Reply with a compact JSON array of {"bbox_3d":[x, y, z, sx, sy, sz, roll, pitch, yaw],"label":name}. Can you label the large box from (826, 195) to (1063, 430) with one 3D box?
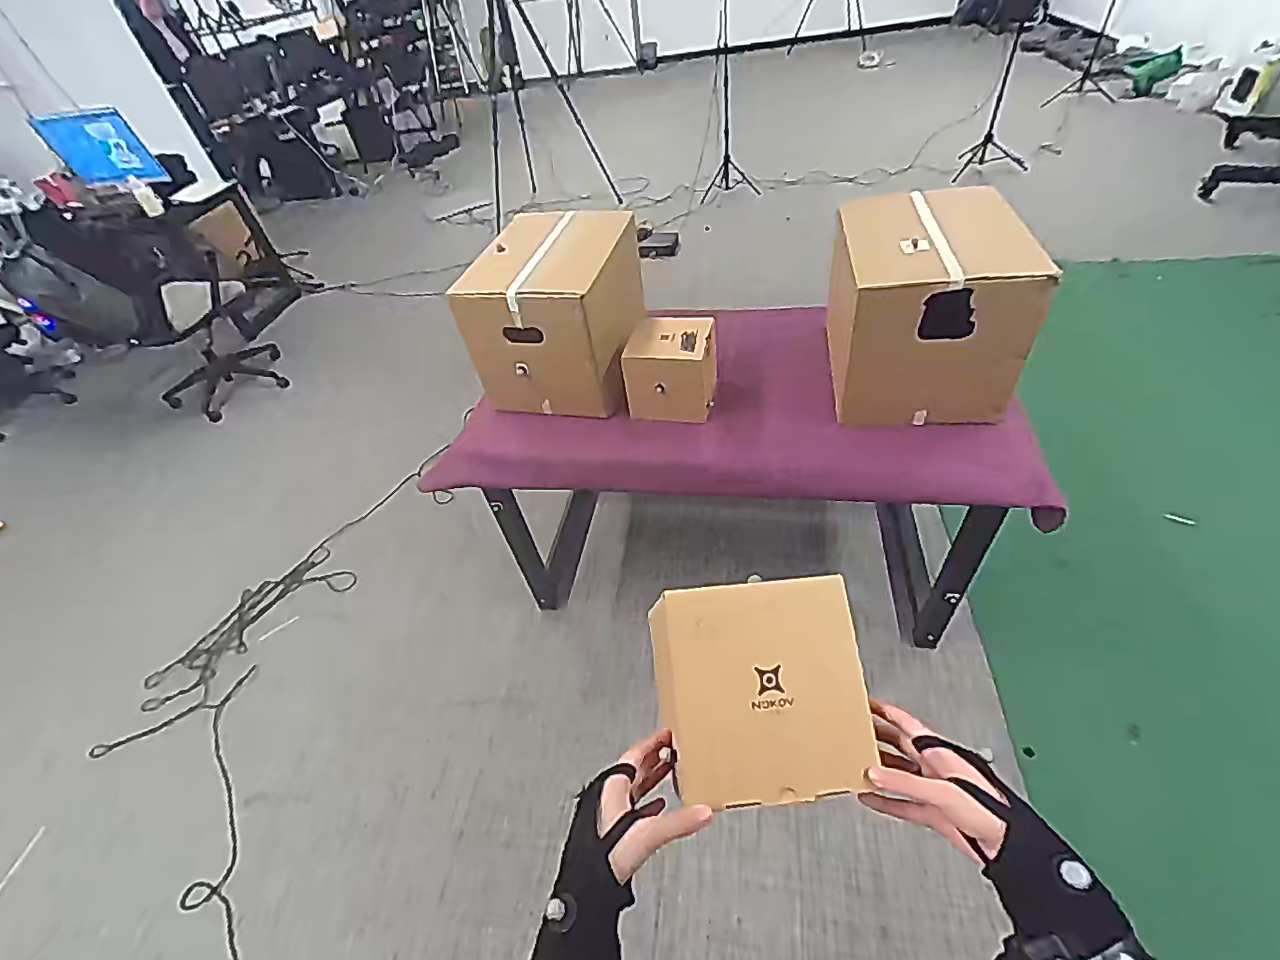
[{"bbox_3d":[0.581,-0.351,1.133,0.320,0.320,0.408,0,47,13],"label":"large box"}]
